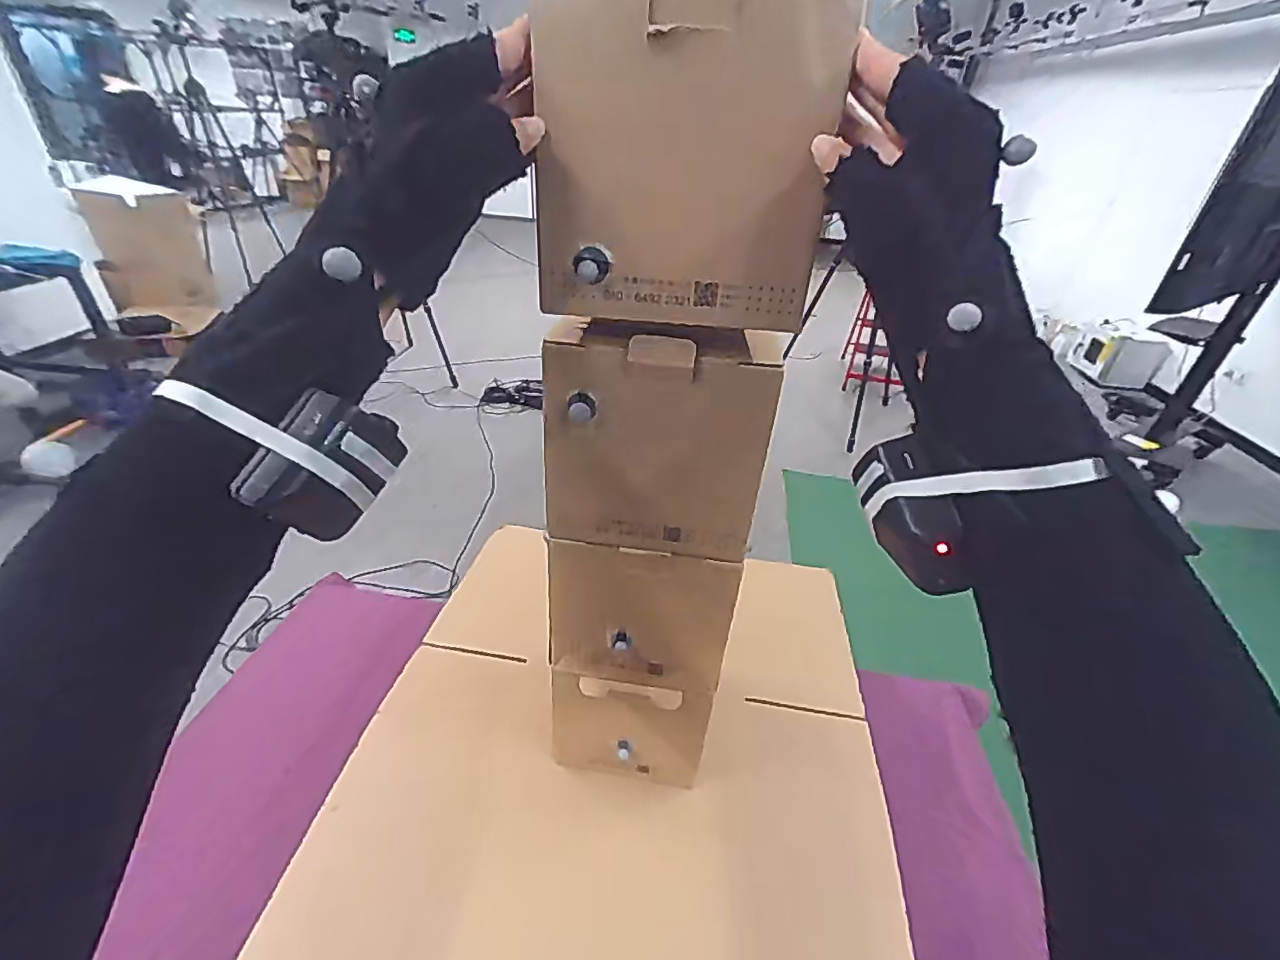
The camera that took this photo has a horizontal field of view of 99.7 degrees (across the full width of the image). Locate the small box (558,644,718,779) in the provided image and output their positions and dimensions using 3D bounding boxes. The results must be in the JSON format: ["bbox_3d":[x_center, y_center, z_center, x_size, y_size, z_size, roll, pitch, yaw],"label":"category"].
[{"bbox_3d":[0.003,0.216,0.646,0.168,0.176,0.179,8,33,5],"label":"small box"}]

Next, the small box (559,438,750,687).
[{"bbox_3d":[0.014,0.079,0.559,0.168,0.176,0.179,7,33,4],"label":"small box"}]

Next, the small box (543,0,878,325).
[{"bbox_3d":[0.034,-0.213,0.369,0.168,0.176,0.179,3,33,-1],"label":"small box"}]
